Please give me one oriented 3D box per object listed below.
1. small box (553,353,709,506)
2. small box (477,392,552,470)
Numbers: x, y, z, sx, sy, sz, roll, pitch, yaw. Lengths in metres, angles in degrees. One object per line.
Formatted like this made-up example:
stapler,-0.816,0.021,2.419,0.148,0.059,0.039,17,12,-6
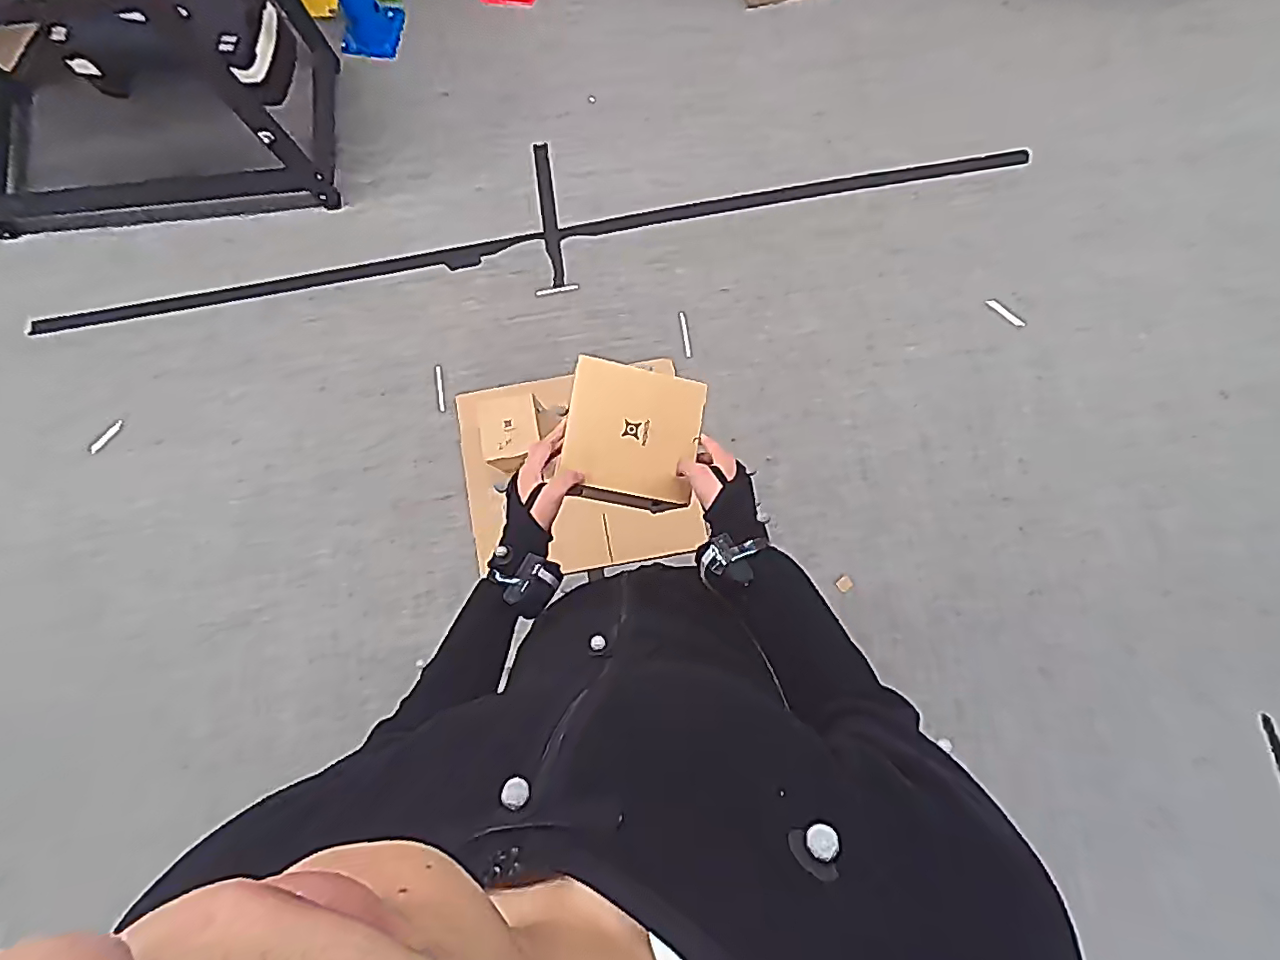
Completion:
small box,-0.023,-0.058,0.760,0.179,0.176,0.168,11,83,-10
small box,-0.366,-0.140,1.593,0.168,0.176,0.179,-11,82,1
